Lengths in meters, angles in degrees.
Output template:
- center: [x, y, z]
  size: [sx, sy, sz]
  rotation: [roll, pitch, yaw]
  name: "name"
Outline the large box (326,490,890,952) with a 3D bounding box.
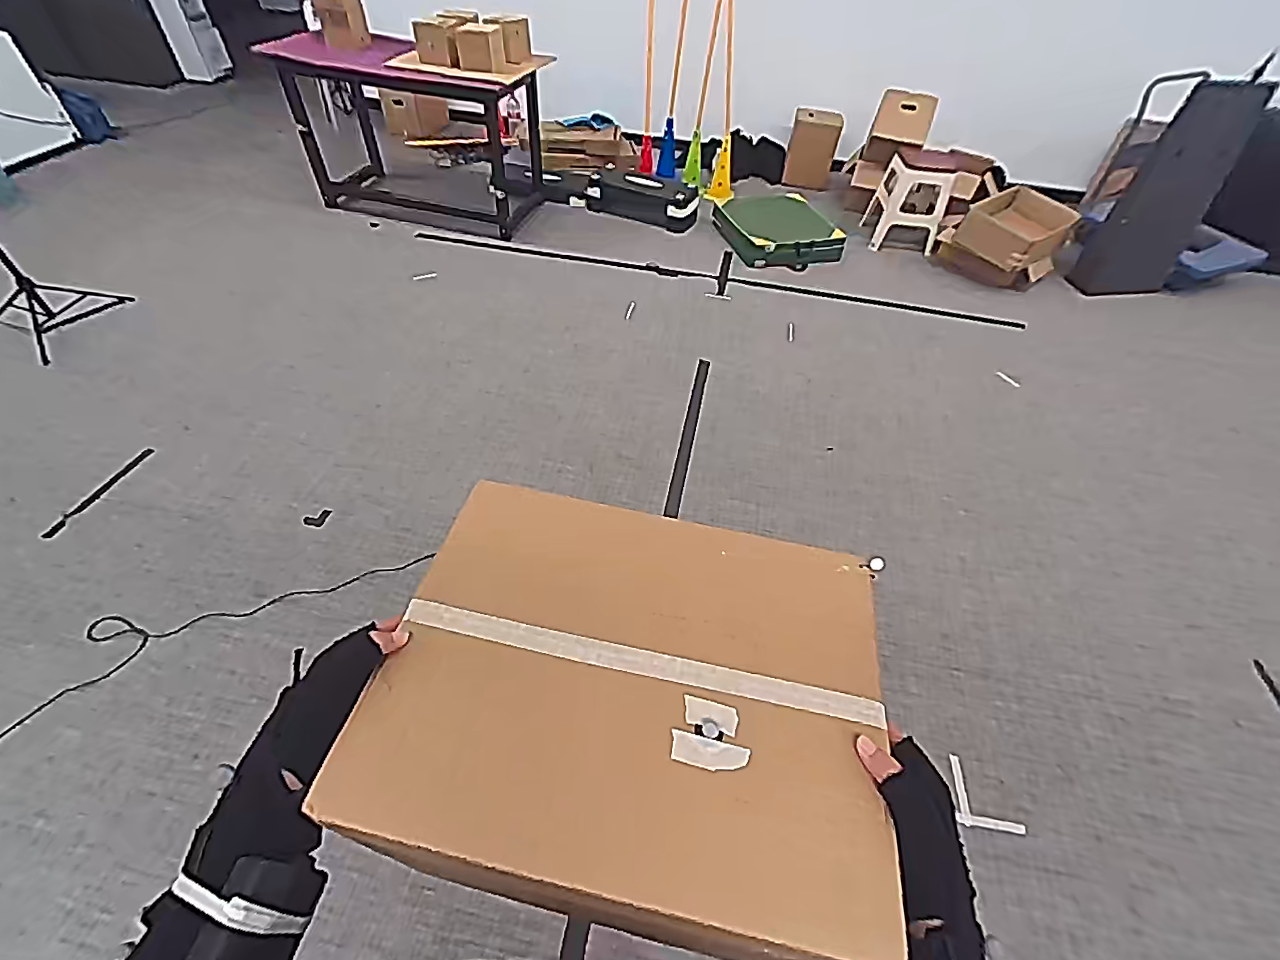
- center: [-0.014, 0.255, 0.575]
  size: [0.408, 0.320, 0.320]
  rotation: [12, 49, 4]
  name: "large box"
